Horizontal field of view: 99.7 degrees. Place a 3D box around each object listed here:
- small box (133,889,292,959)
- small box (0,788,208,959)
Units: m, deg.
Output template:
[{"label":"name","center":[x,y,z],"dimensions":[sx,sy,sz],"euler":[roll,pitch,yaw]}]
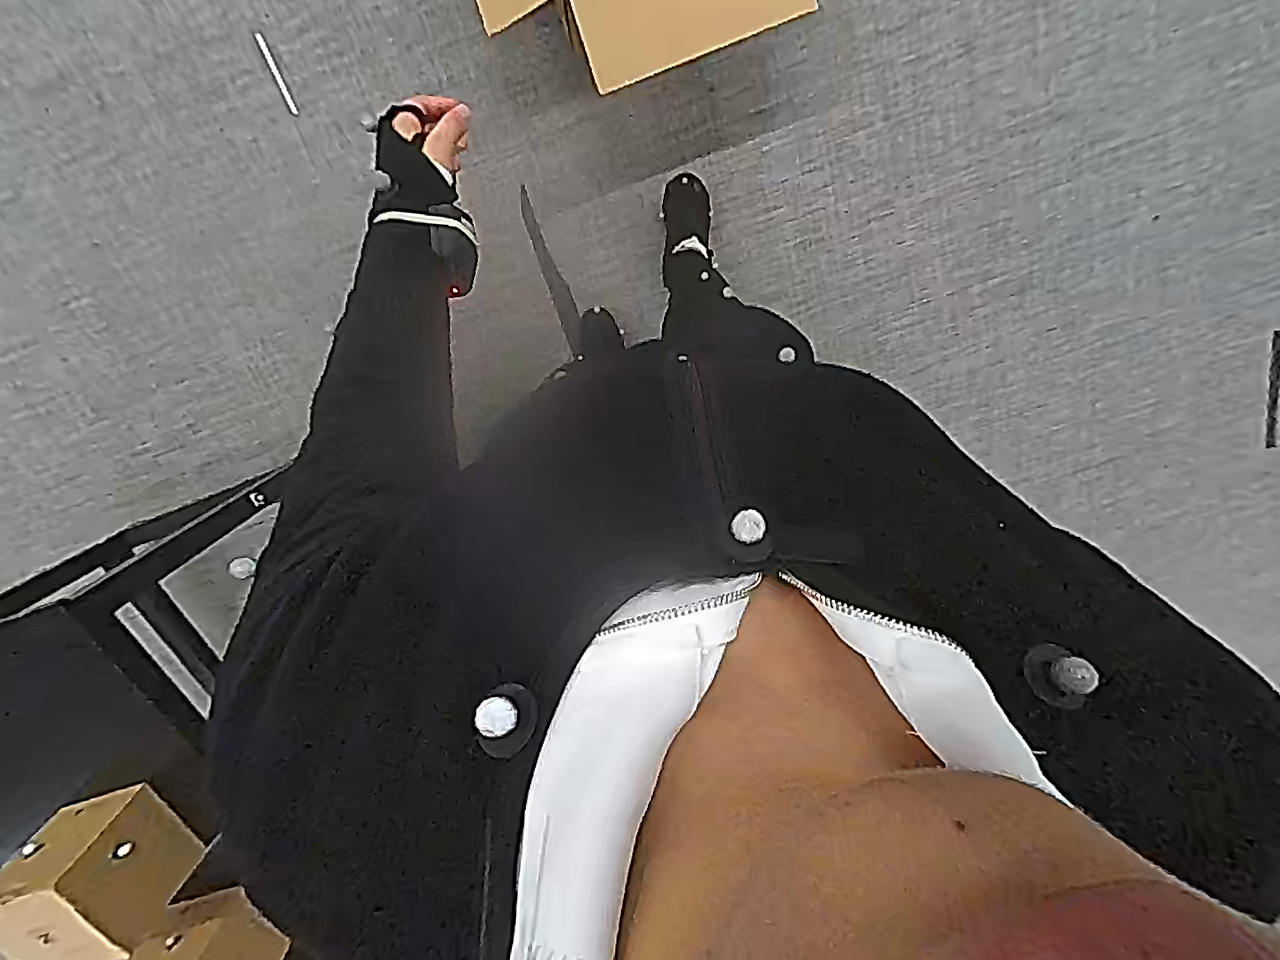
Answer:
[{"label":"small box","center":[-0.778,0.869,0.964],"dimensions":[0.168,0.176,0.179],"euler":[-18,111,5]},{"label":"small box","center":[-0.865,0.627,0.868],"dimensions":[0.168,0.176,0.179],"euler":[-18,112,5]}]
